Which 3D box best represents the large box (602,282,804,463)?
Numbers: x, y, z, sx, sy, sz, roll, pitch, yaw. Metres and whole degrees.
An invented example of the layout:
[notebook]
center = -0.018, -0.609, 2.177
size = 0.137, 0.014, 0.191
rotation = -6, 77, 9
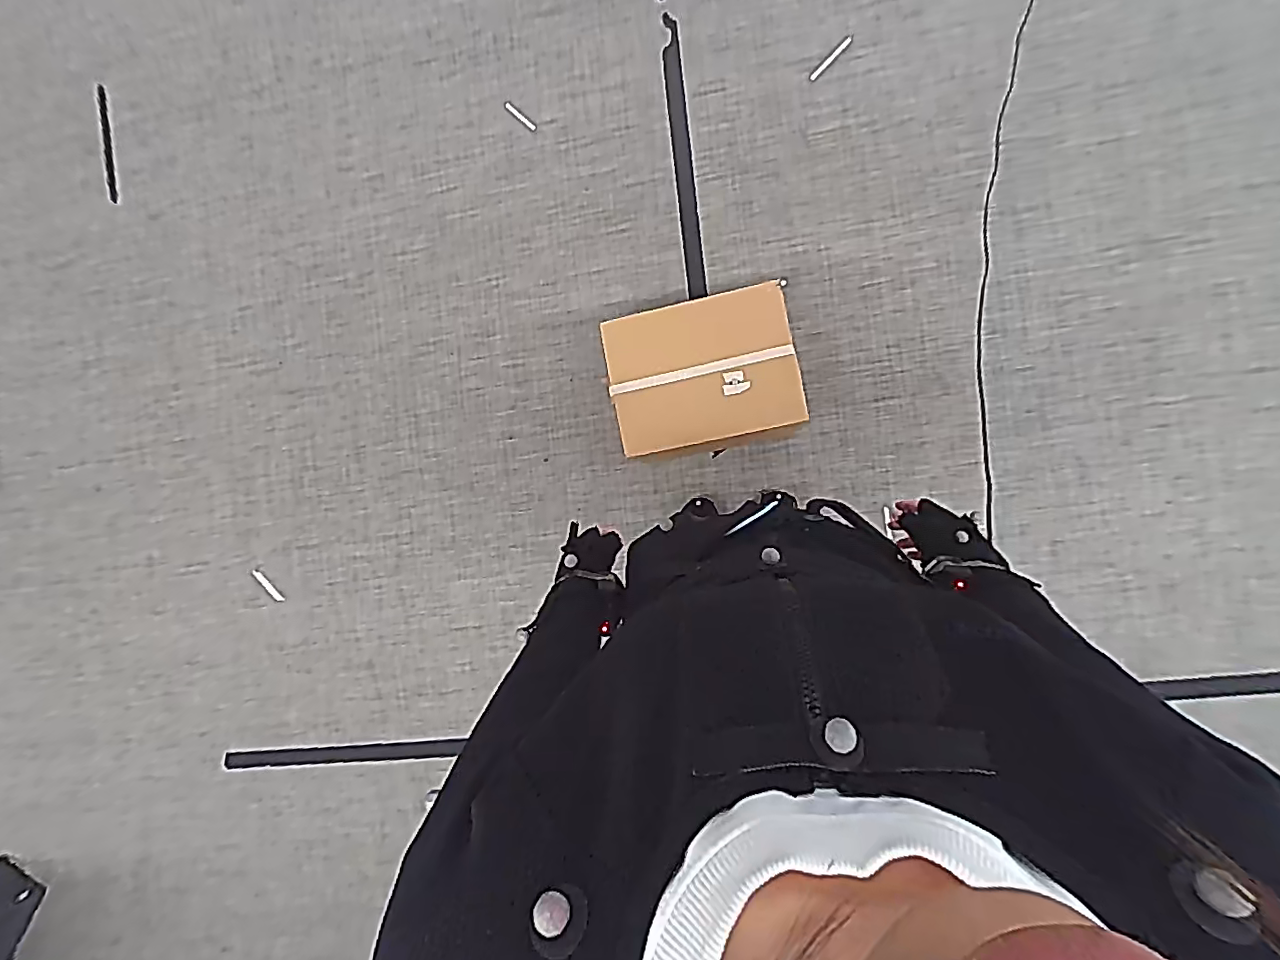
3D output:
[large box]
center = 0.153, -0.239, 1.342
size = 0.408, 0.320, 0.320
rotation = -11, 87, 8
